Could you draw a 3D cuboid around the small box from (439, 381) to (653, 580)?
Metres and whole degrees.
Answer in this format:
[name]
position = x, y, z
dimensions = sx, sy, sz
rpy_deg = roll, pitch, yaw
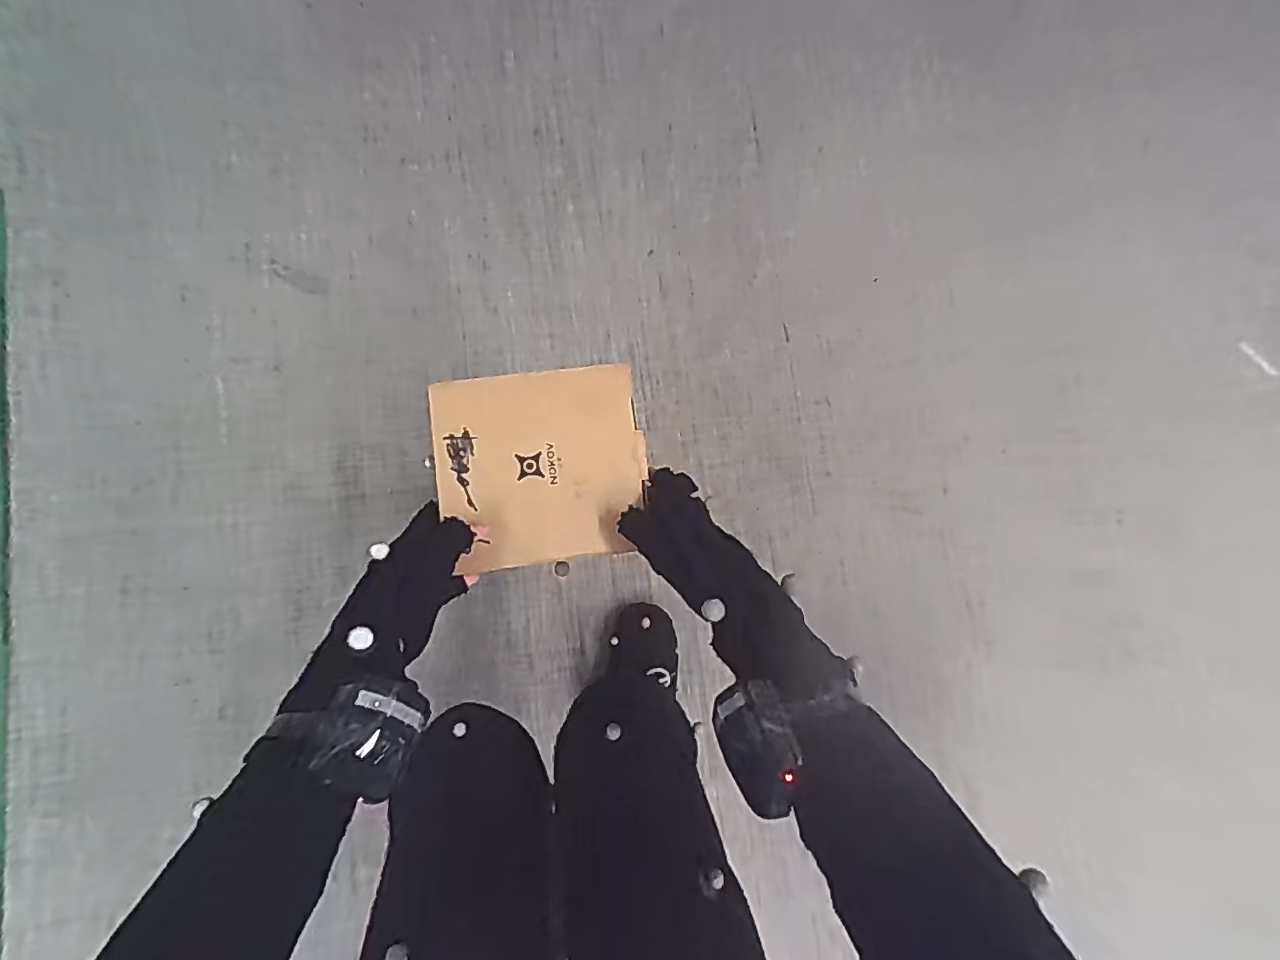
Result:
[small box]
position = -0.091, 0.007, 0.557
dimensions = 0.179, 0.176, 0.168
rpy_deg = -7, 83, -6
